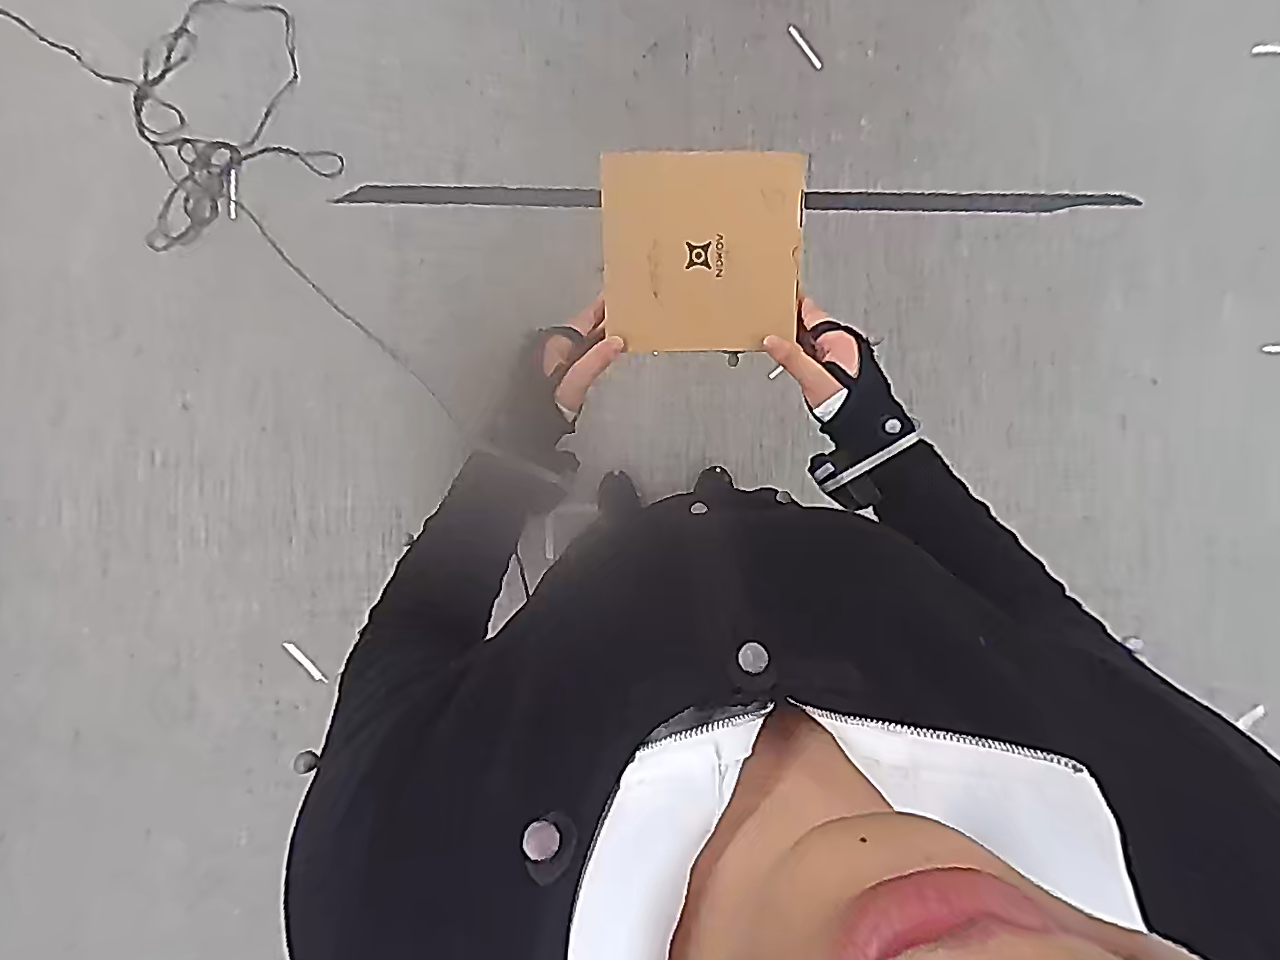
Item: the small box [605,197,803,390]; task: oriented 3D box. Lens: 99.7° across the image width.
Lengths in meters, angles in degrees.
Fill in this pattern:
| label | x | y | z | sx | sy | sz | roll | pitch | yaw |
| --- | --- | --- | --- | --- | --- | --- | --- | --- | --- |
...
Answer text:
| label | x | y | z | sx | sy | sz | roll | pitch | yaw |
| --- | --- | --- | --- | --- | --- | --- | --- | --- | --- |
| small box | 0.055 | -0.183 | 0.563 | 0.179 | 0.176 | 0.168 | -2 | 103 | 0 |
